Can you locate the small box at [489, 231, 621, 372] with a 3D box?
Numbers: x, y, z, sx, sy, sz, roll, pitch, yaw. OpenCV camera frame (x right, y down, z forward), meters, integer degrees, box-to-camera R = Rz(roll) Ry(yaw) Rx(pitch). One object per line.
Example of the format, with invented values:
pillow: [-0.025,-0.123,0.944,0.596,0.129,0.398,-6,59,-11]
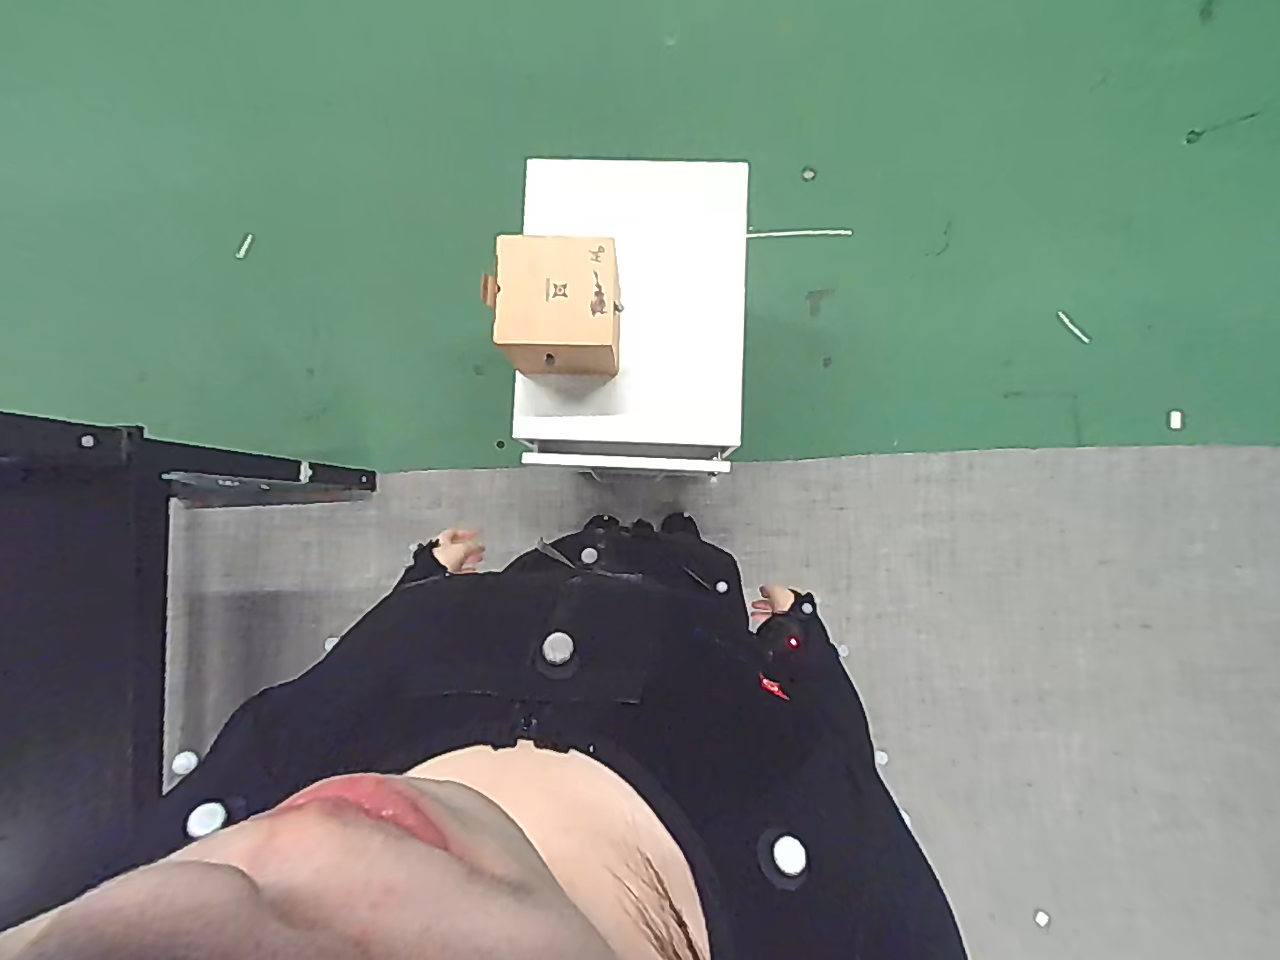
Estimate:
small box: [-0.124,-0.271,0.851,0.179,0.176,0.168,1,87,1]
